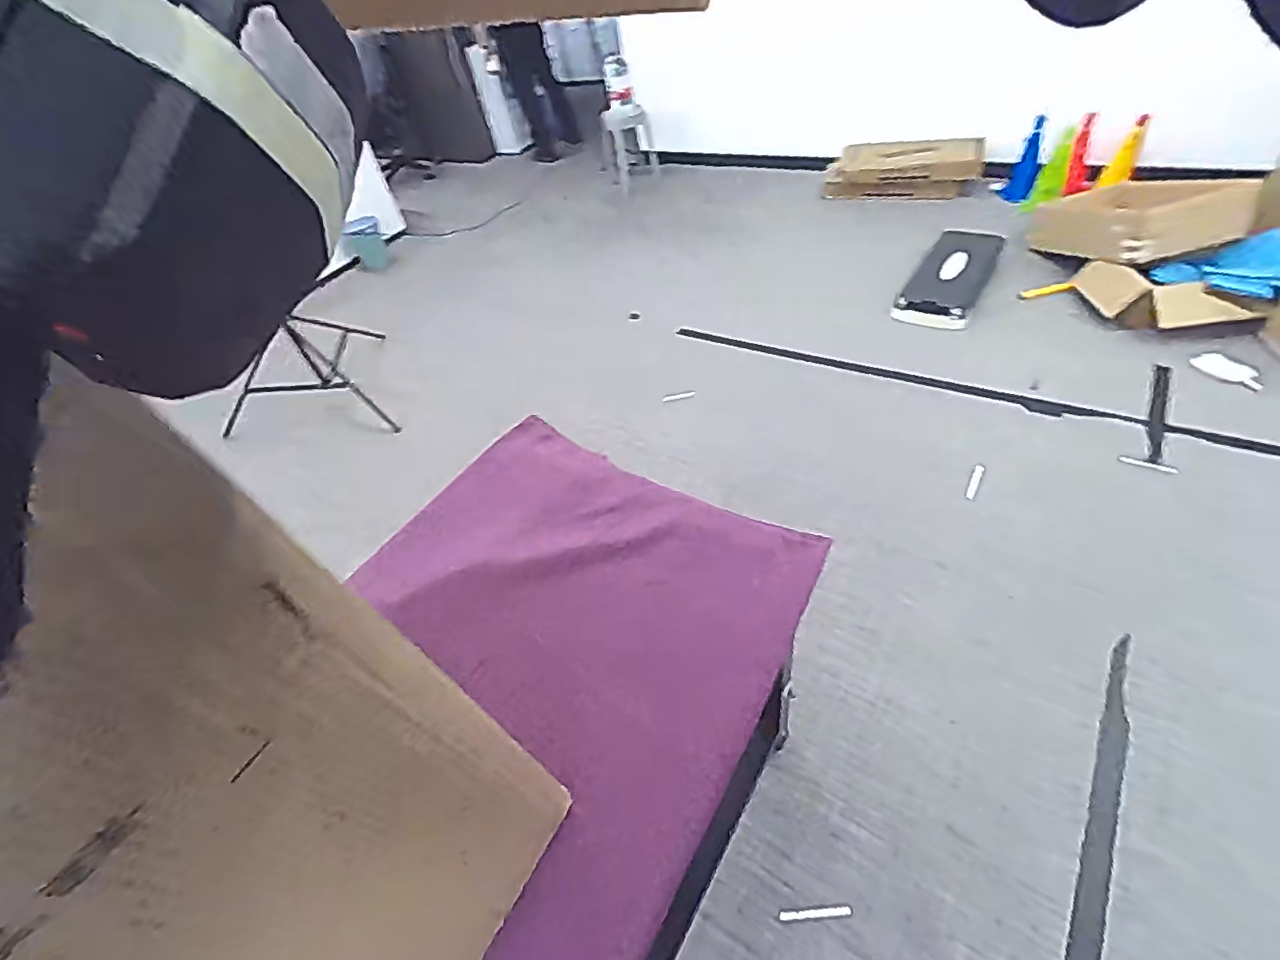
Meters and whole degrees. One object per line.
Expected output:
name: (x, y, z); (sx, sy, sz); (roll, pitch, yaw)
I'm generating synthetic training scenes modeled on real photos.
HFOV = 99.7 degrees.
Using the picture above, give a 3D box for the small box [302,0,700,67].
small box: (-0.060, -0.285, 0.192); (0.179, 0.176, 0.168); (-17, 65, -15)
